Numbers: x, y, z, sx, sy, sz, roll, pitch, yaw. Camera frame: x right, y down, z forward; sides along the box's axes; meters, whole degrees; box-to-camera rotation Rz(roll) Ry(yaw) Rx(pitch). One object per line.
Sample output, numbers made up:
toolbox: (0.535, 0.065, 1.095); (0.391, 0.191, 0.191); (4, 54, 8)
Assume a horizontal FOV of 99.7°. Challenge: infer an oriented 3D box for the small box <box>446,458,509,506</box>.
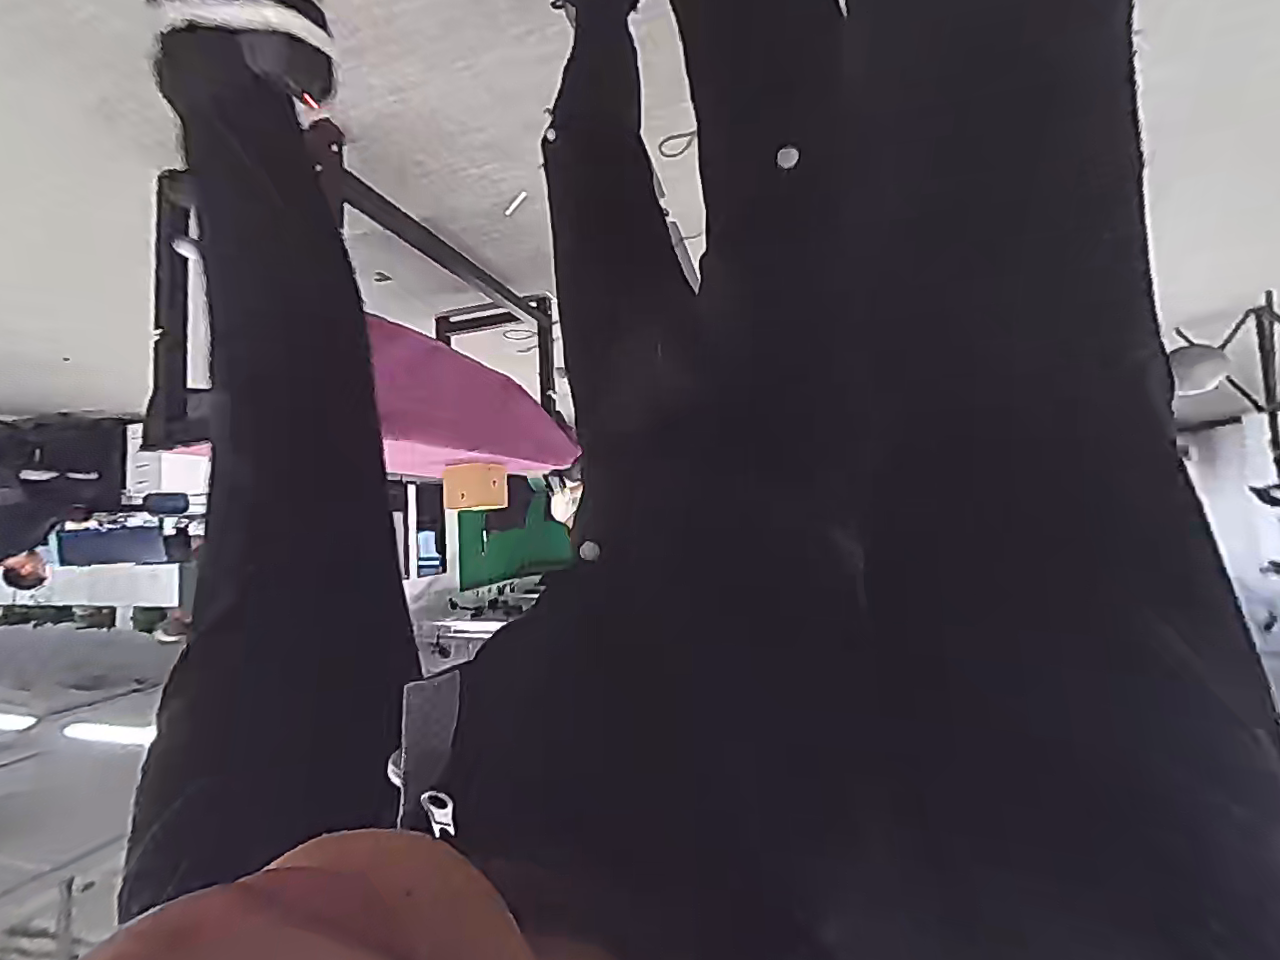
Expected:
small box: (-0.630, 0.009, 2.081); (0.179, 0.176, 0.168); (-4, 176, 25)
